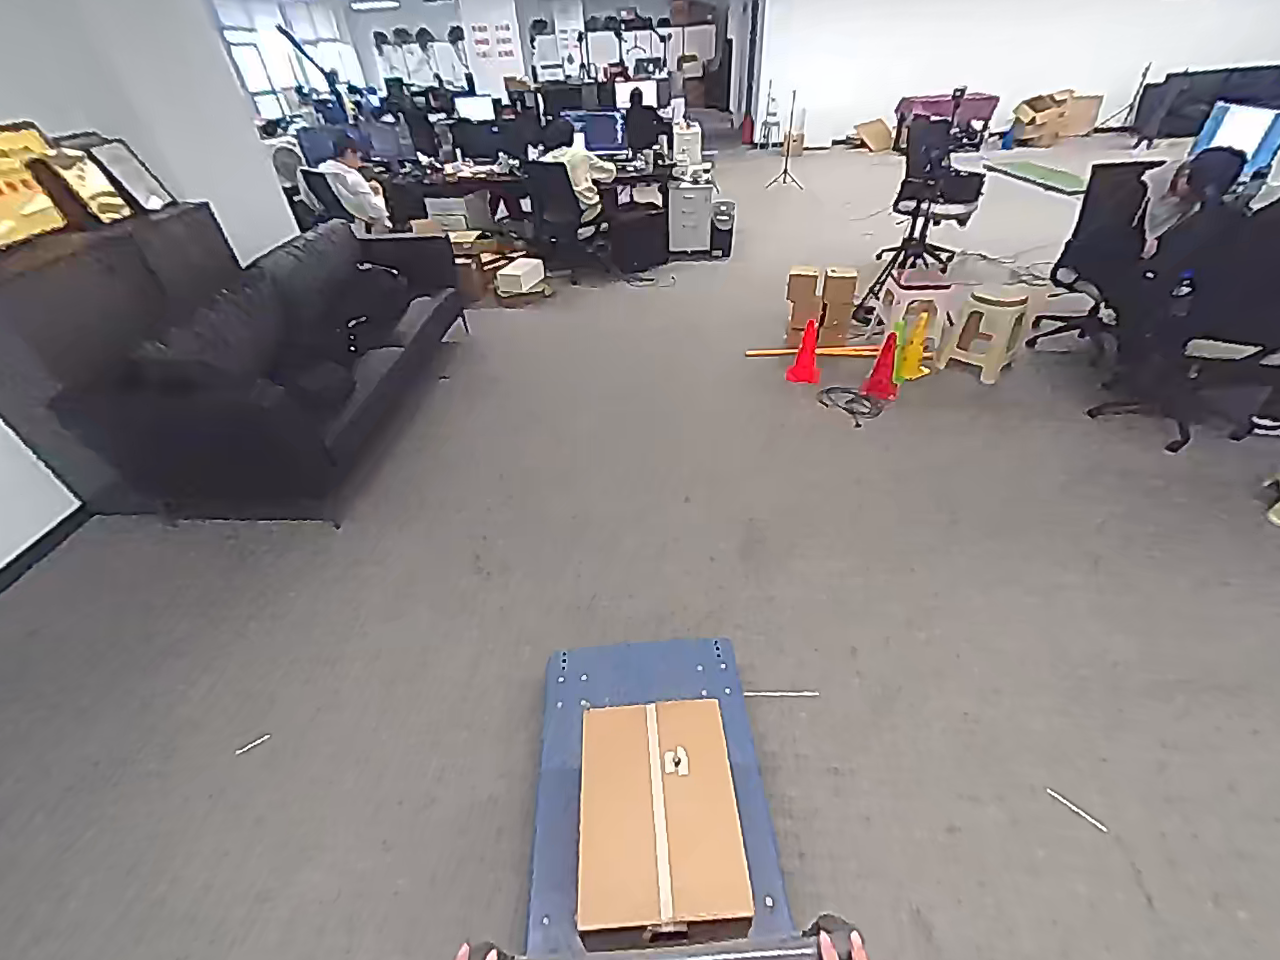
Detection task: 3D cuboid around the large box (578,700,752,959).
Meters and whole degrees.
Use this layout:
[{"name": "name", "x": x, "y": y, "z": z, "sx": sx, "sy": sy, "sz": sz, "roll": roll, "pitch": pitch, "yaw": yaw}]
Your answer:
[{"name": "large box", "x": 0.042, "y": 0.763, "z": 1.190, "sx": 0.320, "sy": 0.320, "sz": 0.408, "roll": -4, "pitch": 39, "yaw": -1}]
